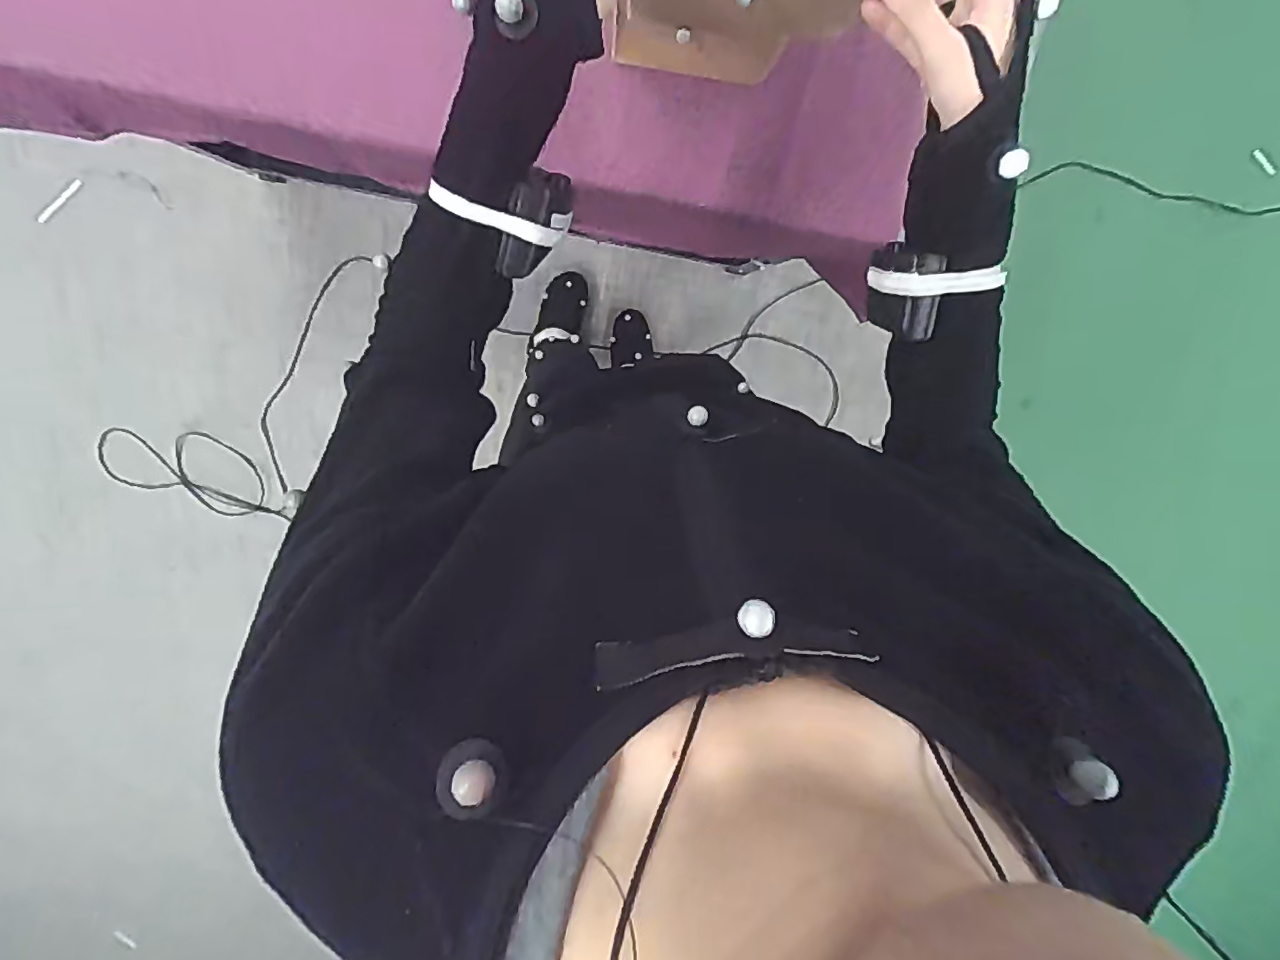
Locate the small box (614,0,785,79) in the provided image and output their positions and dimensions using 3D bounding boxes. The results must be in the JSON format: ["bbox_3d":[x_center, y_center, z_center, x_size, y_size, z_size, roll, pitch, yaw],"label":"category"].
[{"bbox_3d":[0.069,-0.529,0.528,0.179,0.176,0.168,6,105,-4],"label":"small box"}]

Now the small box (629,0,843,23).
[{"bbox_3d":[0.080,-0.422,0.338,0.179,0.176,0.168,3,112,-2],"label":"small box"}]
